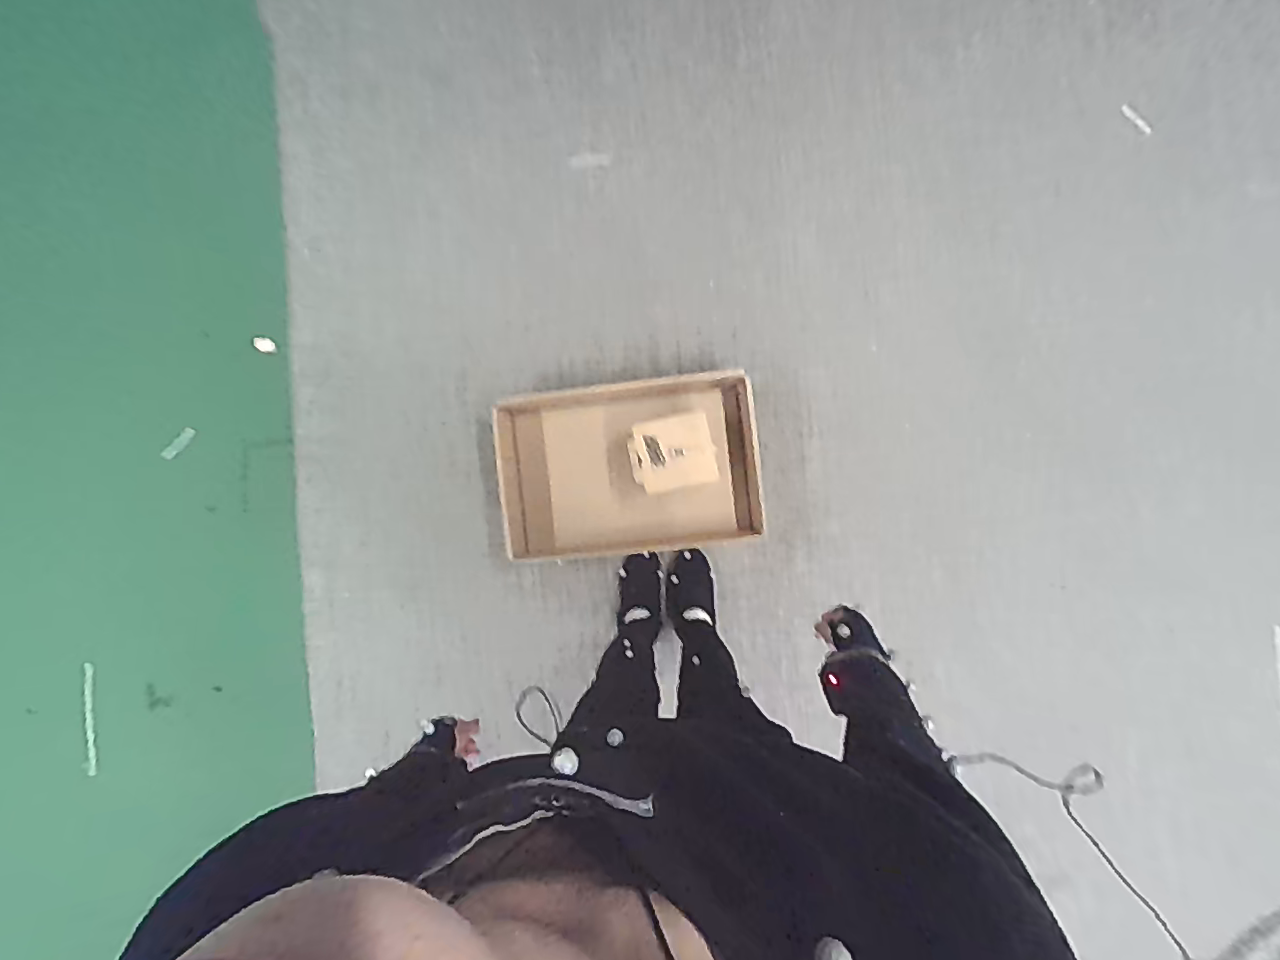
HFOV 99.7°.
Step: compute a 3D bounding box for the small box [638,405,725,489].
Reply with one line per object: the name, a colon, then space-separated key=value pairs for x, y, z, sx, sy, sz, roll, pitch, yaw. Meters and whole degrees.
small box: x=0.101 y=-0.074 z=1.310 sx=0.179 sy=0.176 sz=0.168 roll=-12 pitch=90 yaw=4
